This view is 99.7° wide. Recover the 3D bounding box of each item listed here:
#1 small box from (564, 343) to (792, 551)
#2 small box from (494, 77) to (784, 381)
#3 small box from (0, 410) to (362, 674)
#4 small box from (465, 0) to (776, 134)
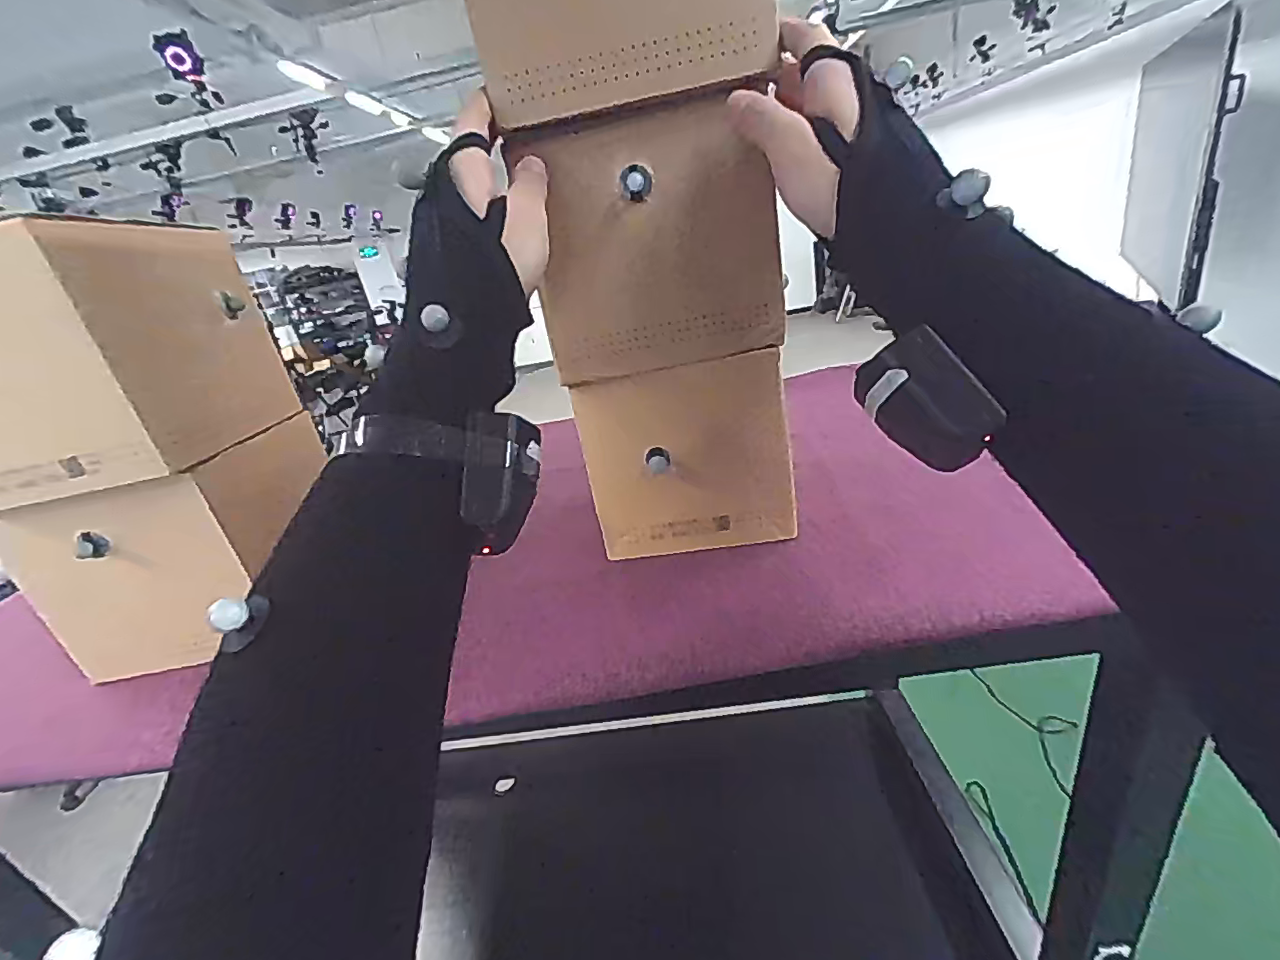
[{"bbox_3d":[0.042,-0.043,0.511,0.168,0.176,0.179,-8,22,8],"label":"small box"},{"bbox_3d":[0.008,-0.187,0.440,0.179,0.176,0.168,-9,23,5],"label":"small box"},{"bbox_3d":[-0.396,0.052,0.492,0.179,0.176,0.168,-11,23,1],"label":"small box"},{"bbox_3d":[-0.019,-0.329,0.361,0.179,0.176,0.168,-10,23,4],"label":"small box"}]
